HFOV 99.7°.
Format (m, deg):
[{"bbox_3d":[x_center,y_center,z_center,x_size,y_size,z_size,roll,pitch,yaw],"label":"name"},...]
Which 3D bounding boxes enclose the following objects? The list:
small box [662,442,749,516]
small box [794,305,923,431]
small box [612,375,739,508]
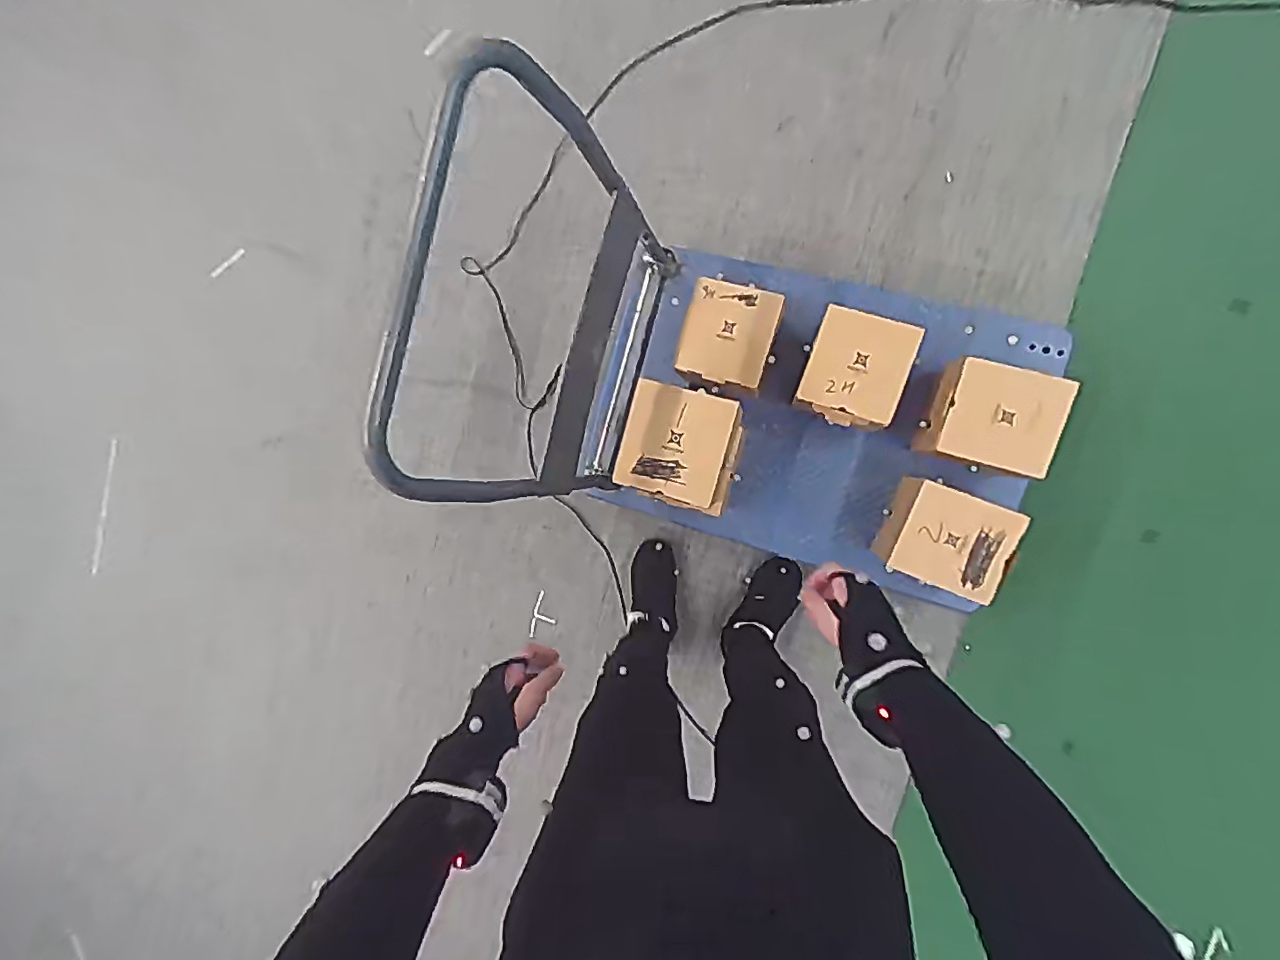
[{"bbox_3d":[0.103,-0.046,1.099,0.168,0.176,0.179,-44,82,12],"label":"small box"},{"bbox_3d":[0.398,-0.201,1.020,0.168,0.176,0.179,21,96,12],"label":"small box"},{"bbox_3d":[0.070,-0.063,0.929,0.168,0.176,0.179,17,95,11],"label":"small box"}]
